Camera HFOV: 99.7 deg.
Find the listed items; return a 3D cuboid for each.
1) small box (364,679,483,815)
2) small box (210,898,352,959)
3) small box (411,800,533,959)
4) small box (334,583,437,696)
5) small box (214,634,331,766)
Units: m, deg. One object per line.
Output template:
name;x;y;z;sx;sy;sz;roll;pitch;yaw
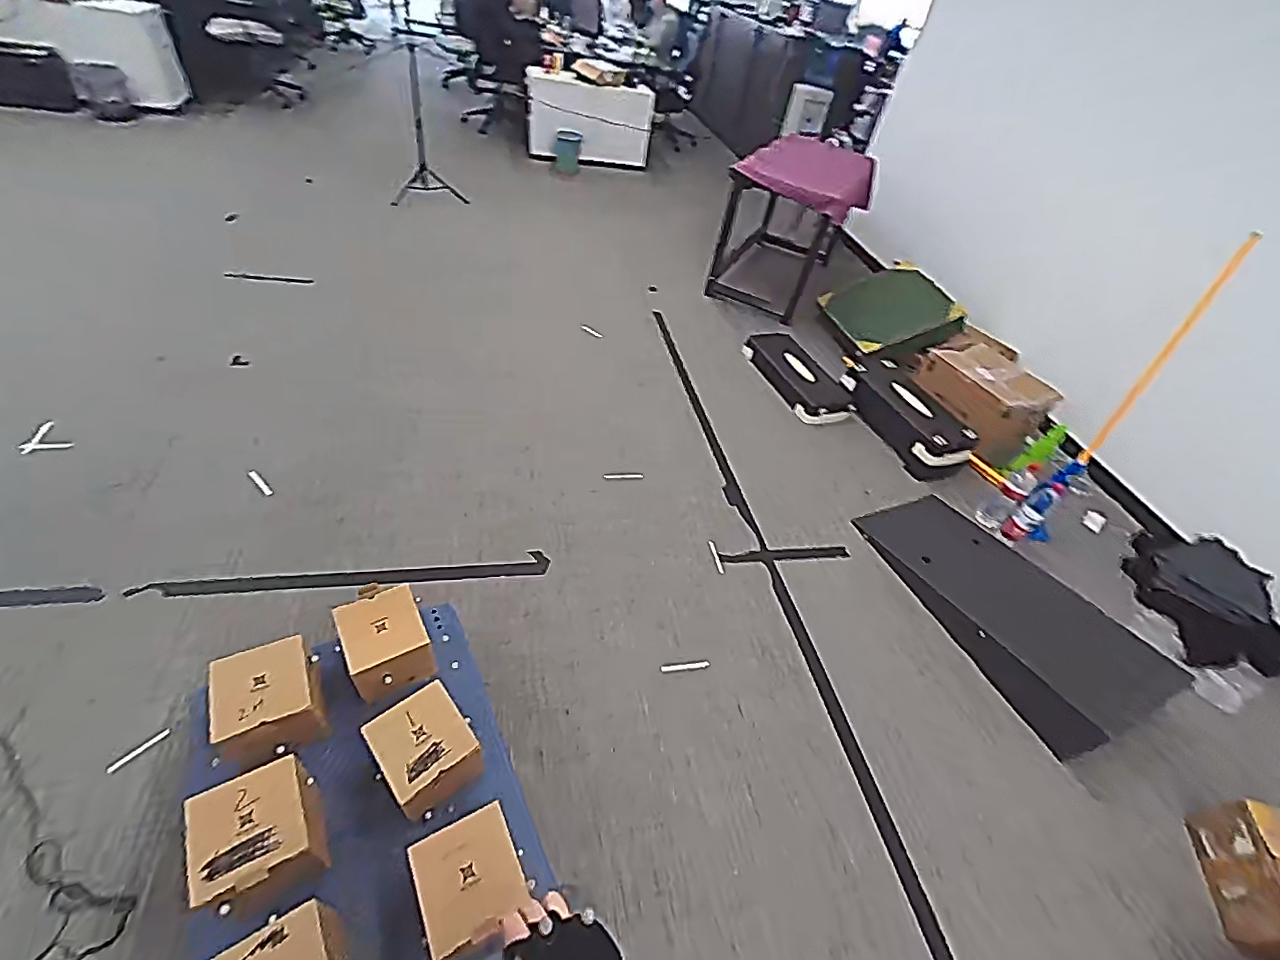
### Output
small box;-0.441;0.559;1.122;0.168;0.176;0.179;-28;57;-34
small box;-0.555;0.809;0.849;0.168;0.176;0.179;-19;54;-30
small box;-0.303;0.731;0.988;0.168;0.176;0.179;-16;51;-27
small box;-0.588;0.379;1.264;0.168;0.176;0.179;-19;53;-28
small box;-0.769;0.461;1.137;0.168;0.176;0.179;-15;52;-26
